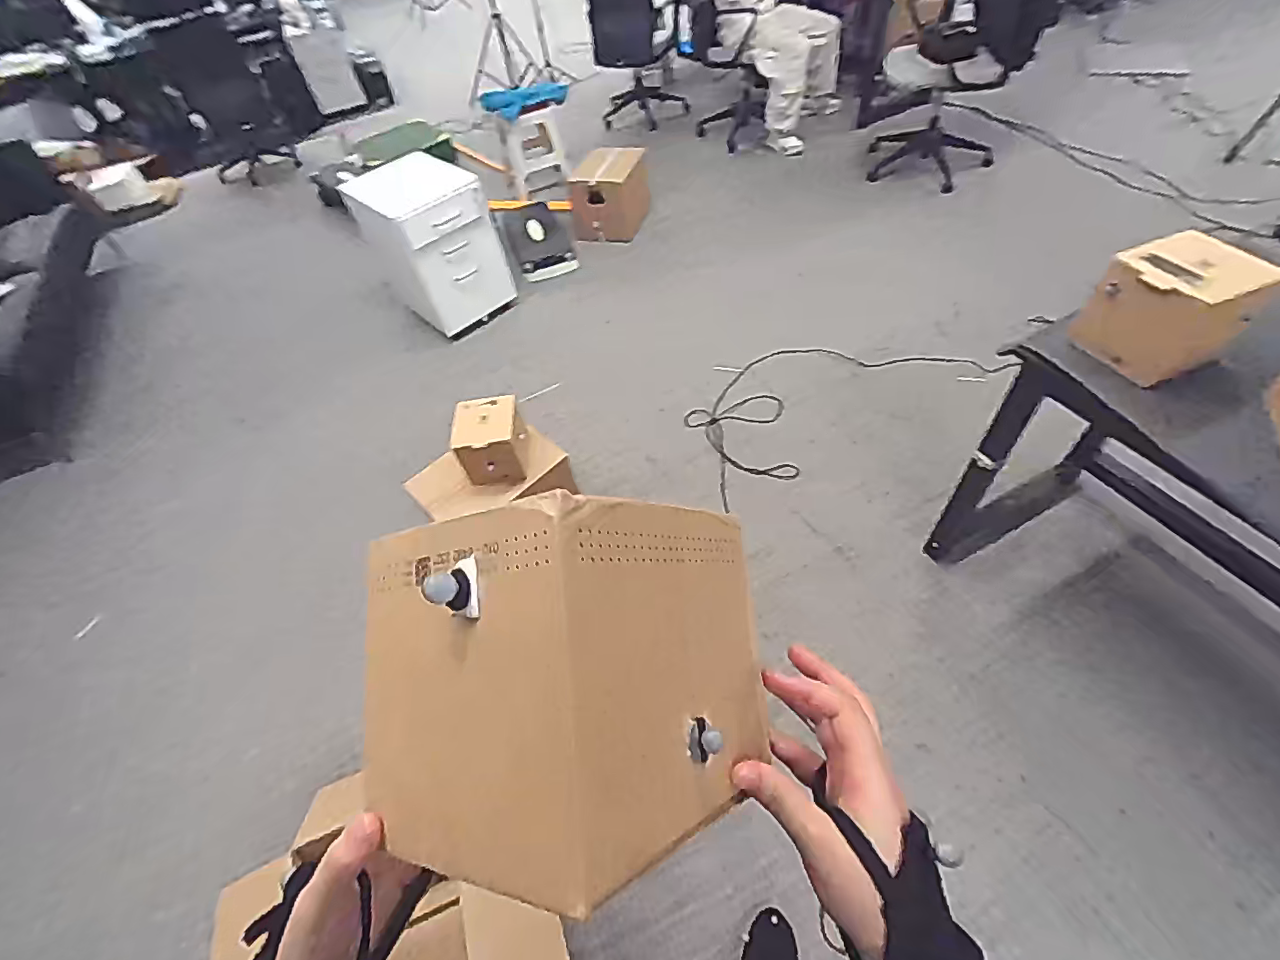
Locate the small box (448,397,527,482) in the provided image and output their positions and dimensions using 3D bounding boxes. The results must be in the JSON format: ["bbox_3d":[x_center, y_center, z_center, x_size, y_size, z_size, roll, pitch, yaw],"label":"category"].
[{"bbox_3d":[-0.427,-0.107,1.542,0.168,0.176,0.179,-8,53,2],"label":"small box"}]

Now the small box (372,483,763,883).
[{"bbox_3d":[-0.041,0.102,0.339,0.168,0.179,0.176,-15,74,36],"label":"small box"}]
